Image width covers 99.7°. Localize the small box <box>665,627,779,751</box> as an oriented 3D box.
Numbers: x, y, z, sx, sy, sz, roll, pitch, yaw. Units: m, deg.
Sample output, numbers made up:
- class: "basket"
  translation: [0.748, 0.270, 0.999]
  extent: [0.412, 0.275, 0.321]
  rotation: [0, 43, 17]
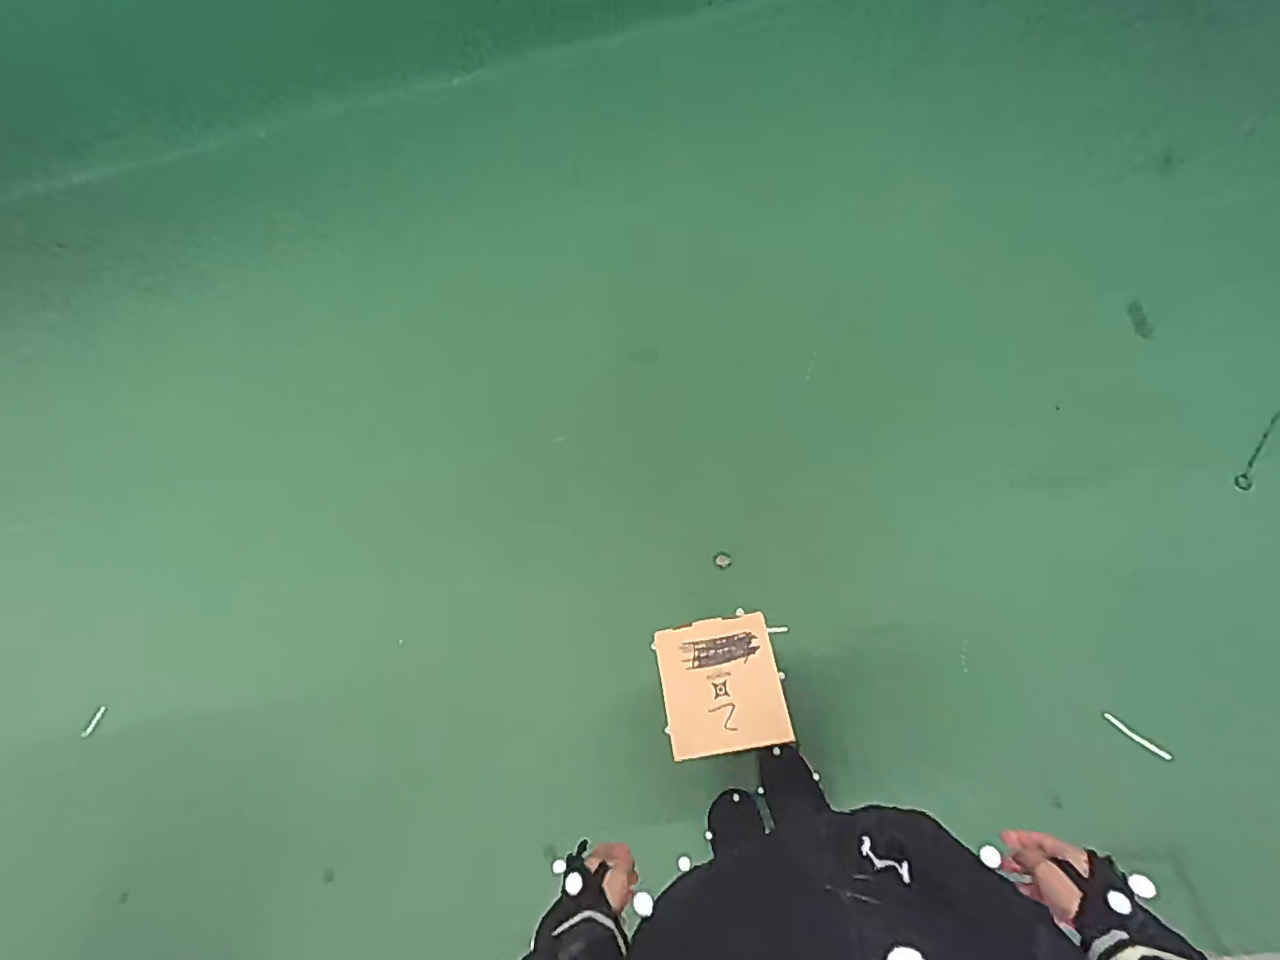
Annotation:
- class: "small box"
  translation: [0.148, 0.379, 0.980]
  extent: [0.168, 0.176, 0.179]
  rotation: [-12, 64, 5]
